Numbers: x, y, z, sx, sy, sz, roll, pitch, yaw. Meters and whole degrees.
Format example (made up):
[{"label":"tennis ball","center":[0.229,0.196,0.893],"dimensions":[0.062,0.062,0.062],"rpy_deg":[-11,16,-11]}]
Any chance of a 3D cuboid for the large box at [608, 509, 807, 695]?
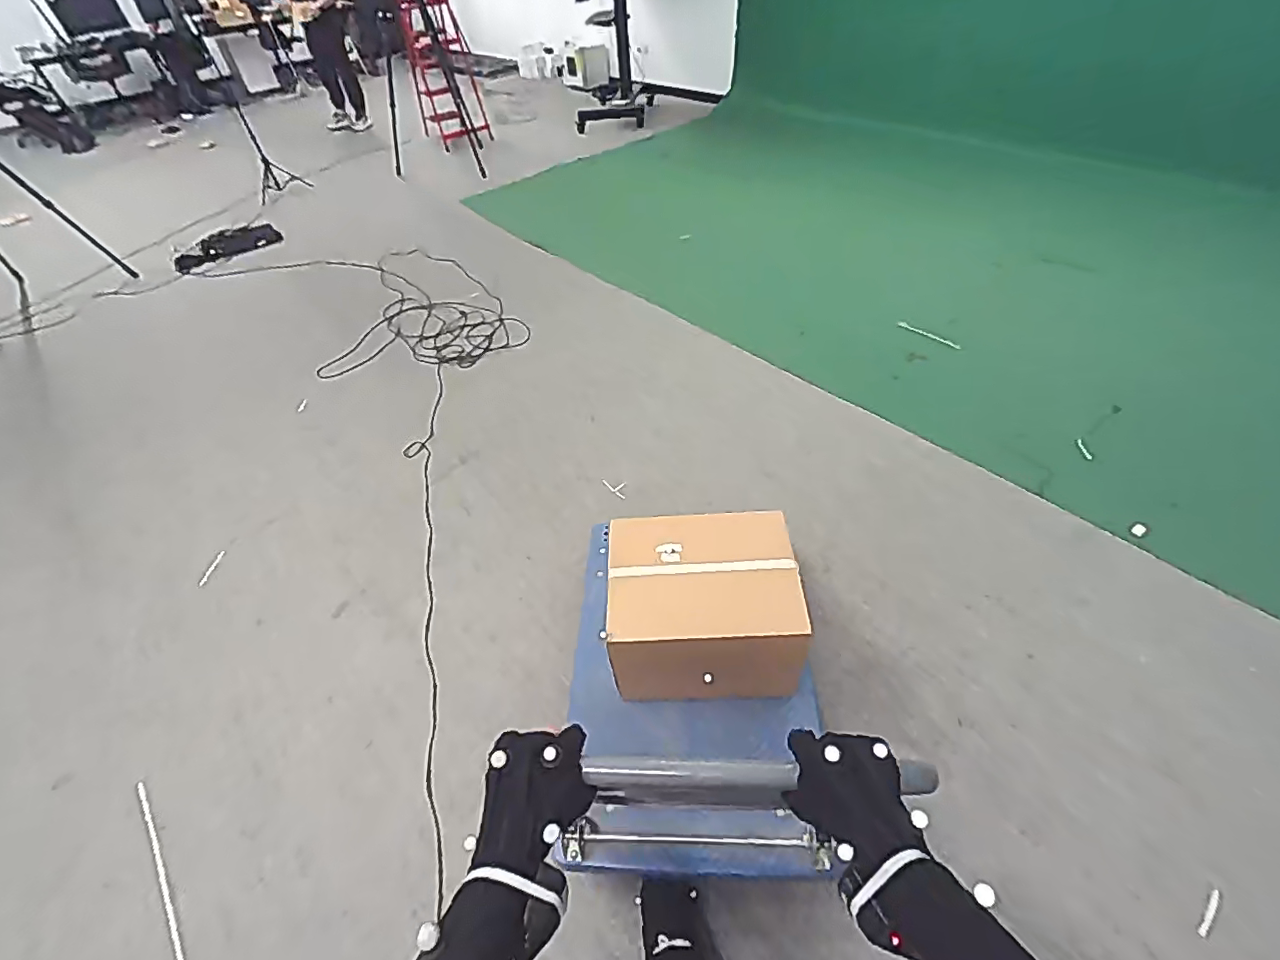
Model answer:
[{"label":"large box","center":[0.144,0.296,1.283],"dimensions":[0.408,0.320,0.320],"rpy_deg":[-4,47,3]}]
